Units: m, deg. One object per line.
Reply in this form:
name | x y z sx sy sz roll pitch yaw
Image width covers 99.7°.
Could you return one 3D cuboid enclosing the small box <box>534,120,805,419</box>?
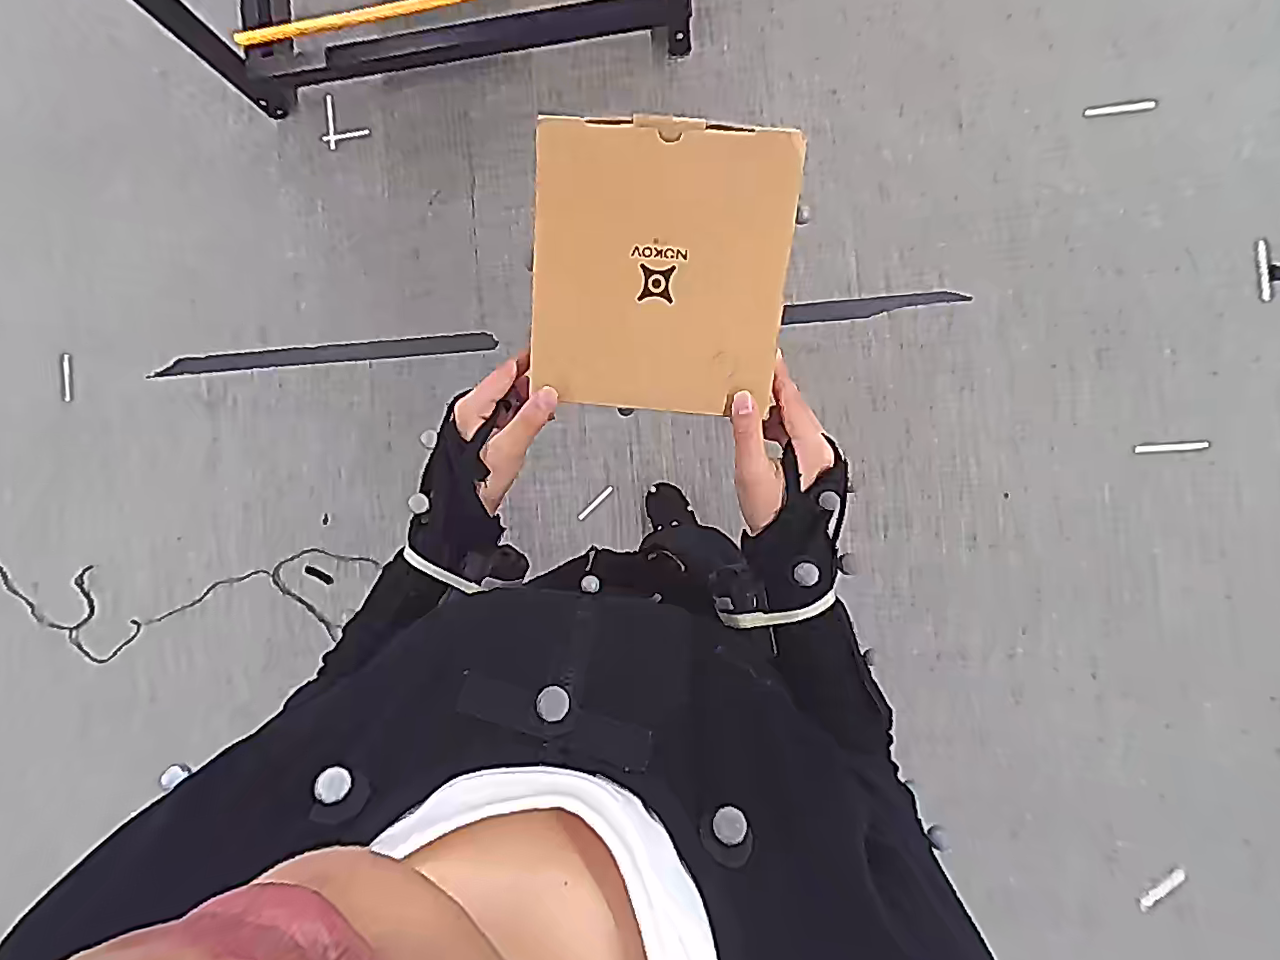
small box | 0.020 -0.151 0.427 0.168 0.176 0.179 5 104 4
